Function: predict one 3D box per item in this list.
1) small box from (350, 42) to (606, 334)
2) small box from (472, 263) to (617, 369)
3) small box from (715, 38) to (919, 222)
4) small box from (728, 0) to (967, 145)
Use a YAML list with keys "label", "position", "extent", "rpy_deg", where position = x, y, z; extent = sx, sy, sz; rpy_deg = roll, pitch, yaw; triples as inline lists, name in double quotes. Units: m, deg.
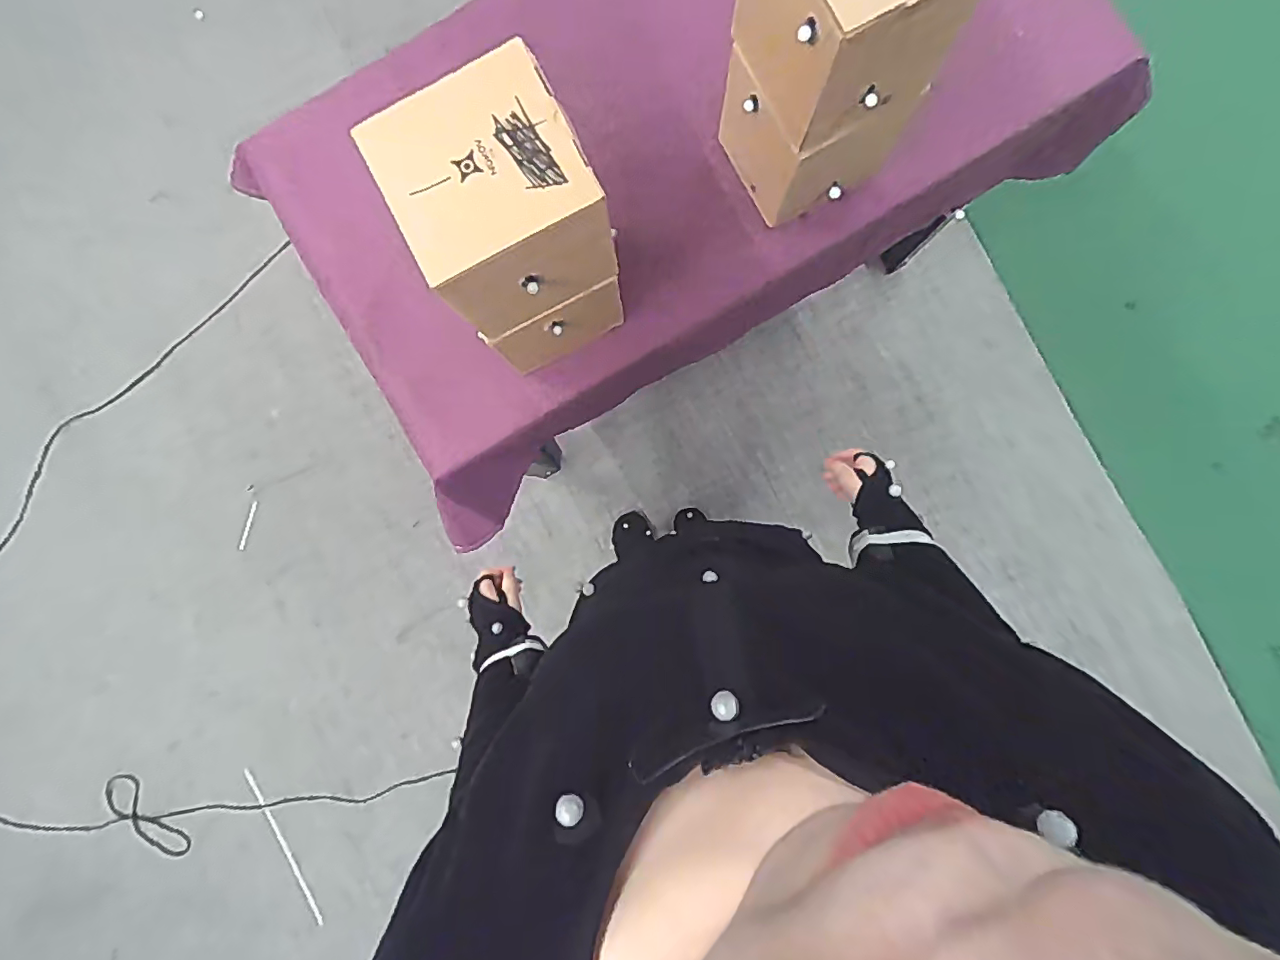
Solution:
- label: "small box"
  position: [-0.145, -0.279, 0.559]
  extent: [0.179, 0.176, 0.168]
  rpy_deg: [-28, 88, 2]
- label: "small box"
  position: [-0.144, -0.269, 0.723]
  extent: [0.179, 0.176, 0.168]
  rpy_deg: [-27, 88, 0]
- label: "small box"
  position: [0.217, -0.486, 0.716]
  extent: [0.179, 0.176, 0.168]
  rpy_deg: [-28, 87, 0]
- label: "small box"
  position: [0.205, -0.499, 0.553]
  extent: [0.168, 0.176, 0.179]
  rpy_deg: [-28, 89, 1]
